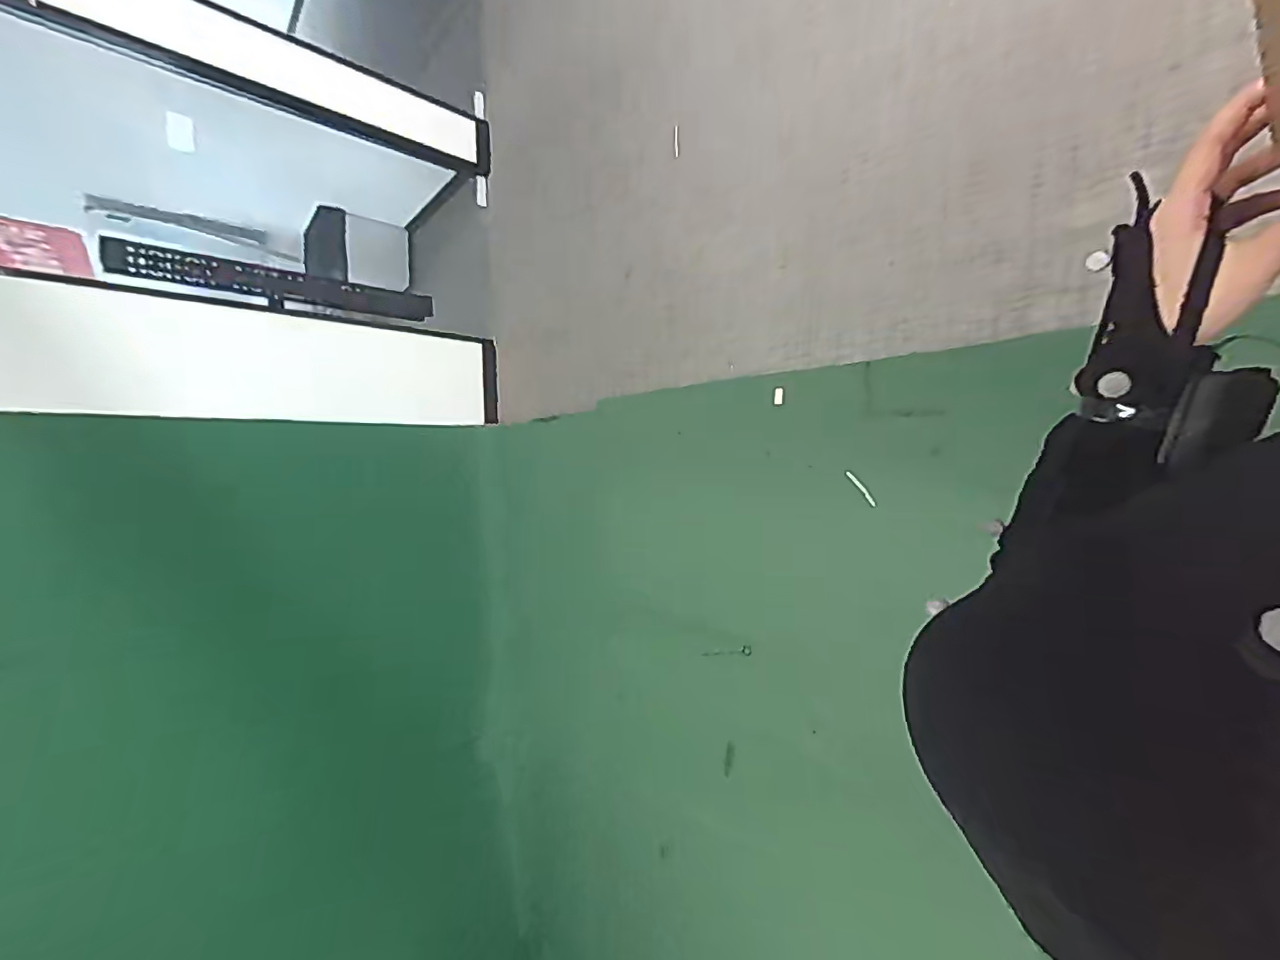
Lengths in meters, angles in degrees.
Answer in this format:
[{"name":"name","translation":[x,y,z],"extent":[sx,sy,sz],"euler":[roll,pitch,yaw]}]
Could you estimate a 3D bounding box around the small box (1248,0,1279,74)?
[{"name":"small box","translation":[0.377,-0.188,0.172],"extent":[0.179,0.176,0.168],"euler":[-50,50,37]}]
